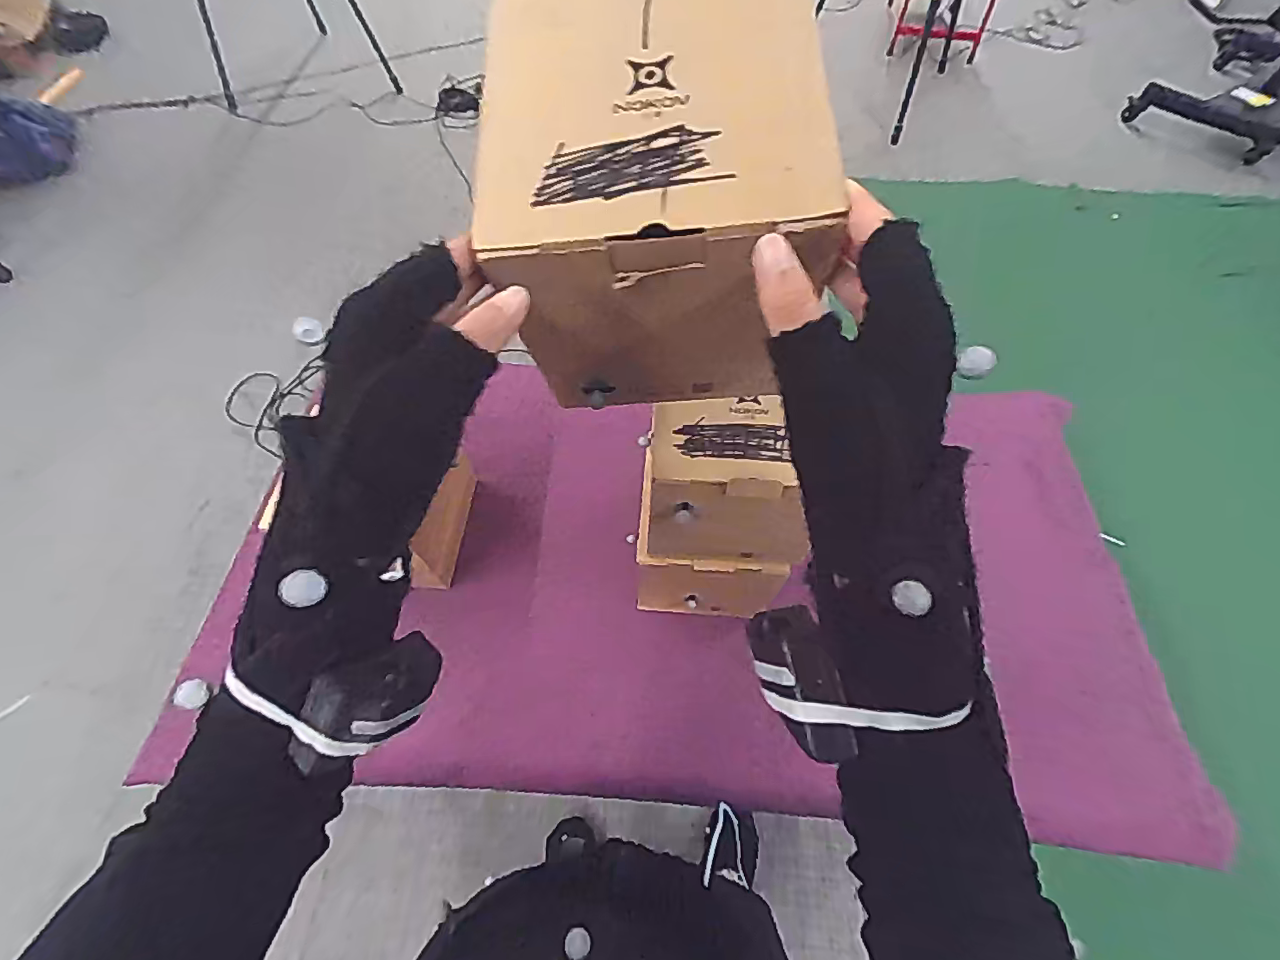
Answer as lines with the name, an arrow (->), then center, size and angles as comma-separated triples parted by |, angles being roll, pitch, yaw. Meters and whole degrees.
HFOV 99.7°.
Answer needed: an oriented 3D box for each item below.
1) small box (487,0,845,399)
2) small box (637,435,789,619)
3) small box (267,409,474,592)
small box -> 0.018, -0.161, 0.342 | 0.168, 0.176, 0.179 | -3, 71, 5
small box -> 0.085, 0.064, 0.695 | 0.168, 0.176, 0.179 | 4, 60, 2
small box -> -0.329, 0.031, 0.707 | 0.168, 0.176, 0.179 | 4, 60, 2
